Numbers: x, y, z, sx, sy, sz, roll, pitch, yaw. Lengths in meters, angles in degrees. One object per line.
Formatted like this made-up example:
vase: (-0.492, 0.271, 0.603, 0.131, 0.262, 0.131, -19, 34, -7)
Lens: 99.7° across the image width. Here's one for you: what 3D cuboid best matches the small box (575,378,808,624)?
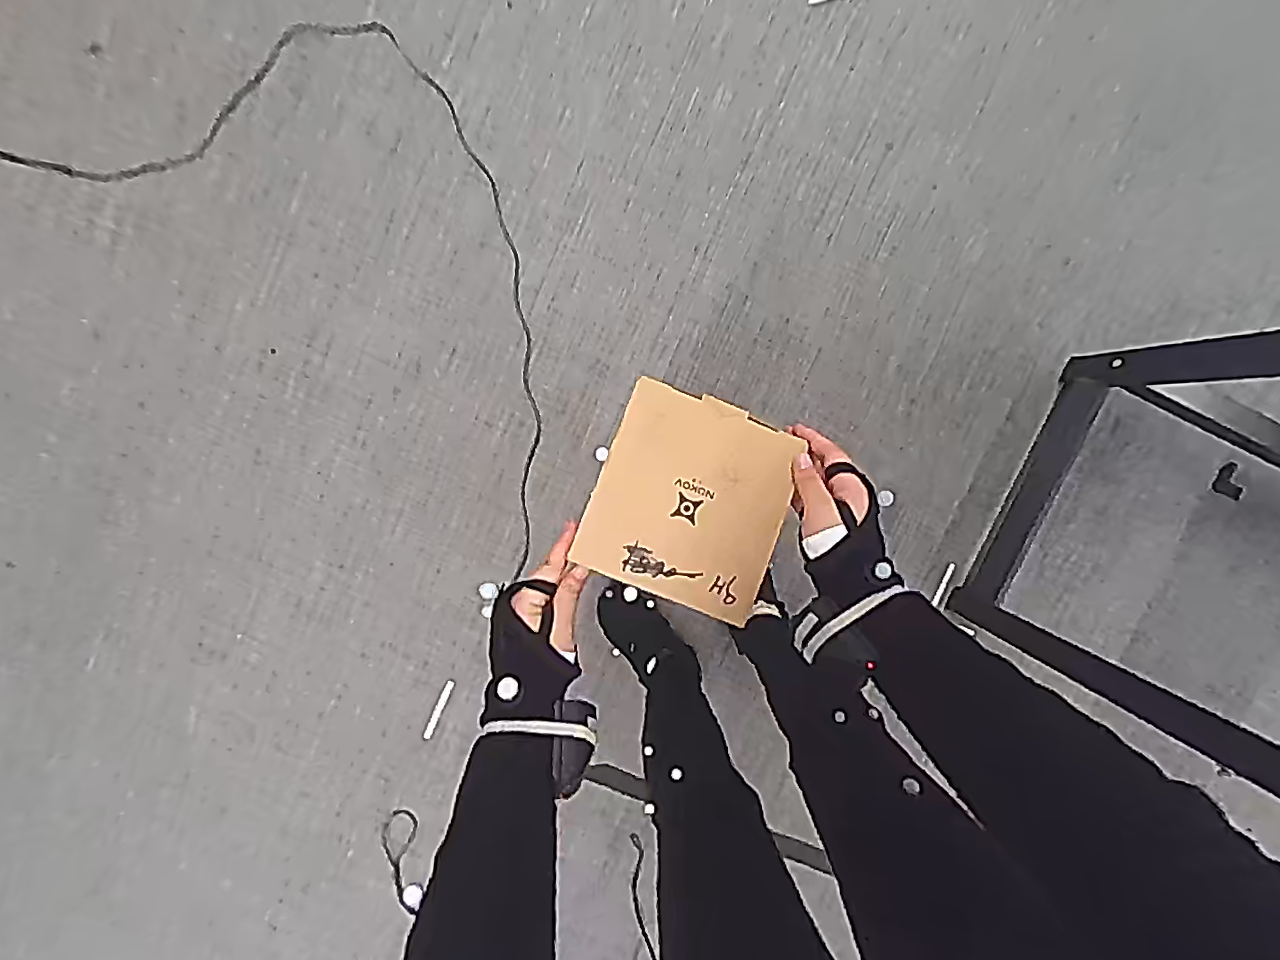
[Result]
small box: (0.042, 0.024, 0.556, 0.168, 0.176, 0.179, 22, 84, -1)
